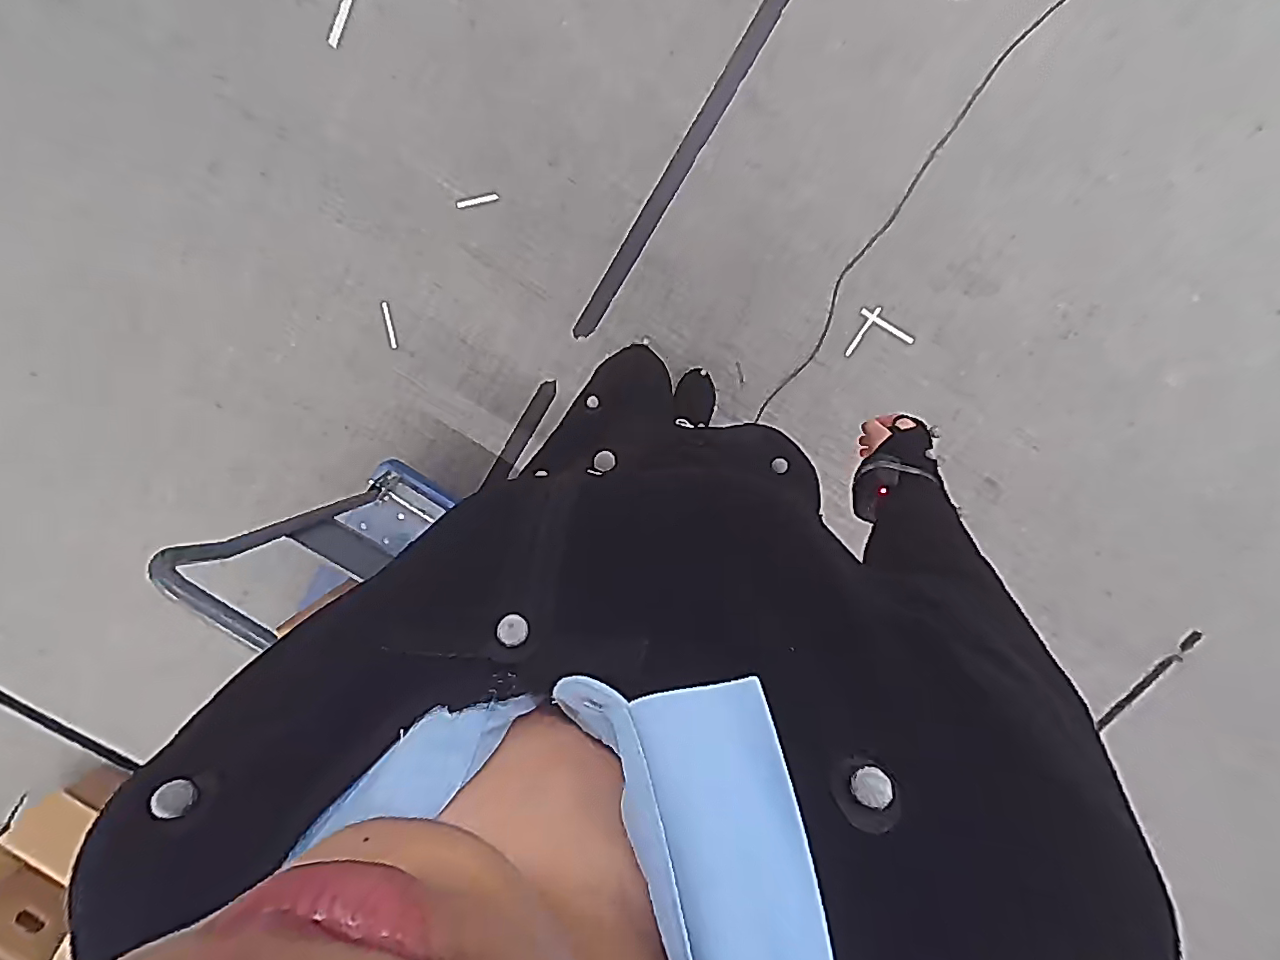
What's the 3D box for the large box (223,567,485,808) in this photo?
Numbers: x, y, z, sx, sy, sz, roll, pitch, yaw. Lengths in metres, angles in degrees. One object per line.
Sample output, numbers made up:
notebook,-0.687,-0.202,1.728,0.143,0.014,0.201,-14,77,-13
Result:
large box,-0.662,0.480,1.315,0.408,0.320,0.320,35,103,-6
